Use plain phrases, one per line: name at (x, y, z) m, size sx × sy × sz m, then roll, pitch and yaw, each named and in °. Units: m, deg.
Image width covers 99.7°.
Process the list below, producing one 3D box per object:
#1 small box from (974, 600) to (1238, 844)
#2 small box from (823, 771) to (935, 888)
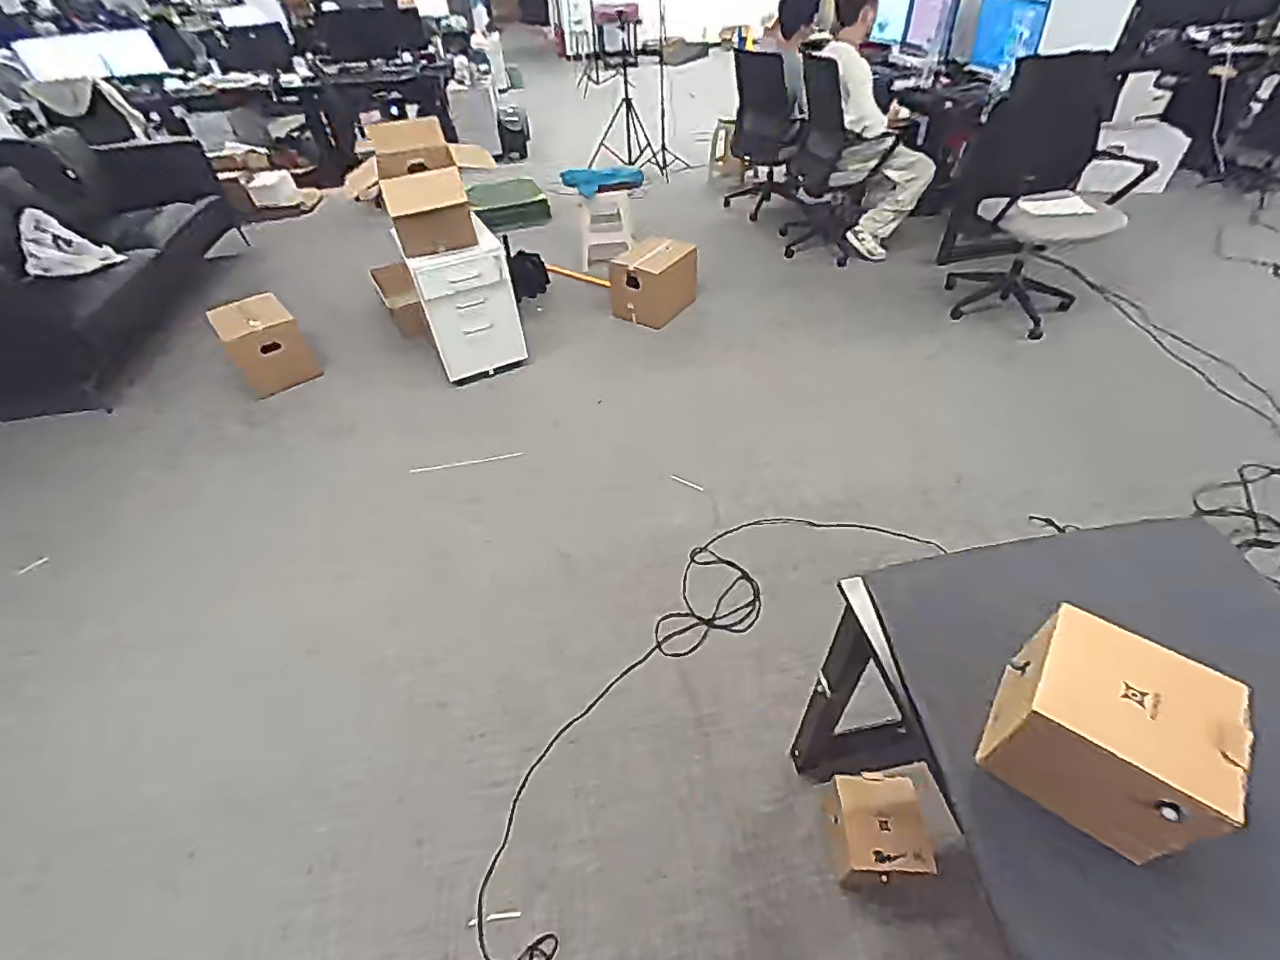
small box at (0.528, 0.283, 0.633) m, size 0.179 × 0.176 × 0.168 m, roll 28°, pitch 53°, yaw 28°
small box at (0.510, 0.765, 1.184) m, size 0.168 × 0.176 × 0.179 m, roll 0°, pitch 44°, yaw 4°
